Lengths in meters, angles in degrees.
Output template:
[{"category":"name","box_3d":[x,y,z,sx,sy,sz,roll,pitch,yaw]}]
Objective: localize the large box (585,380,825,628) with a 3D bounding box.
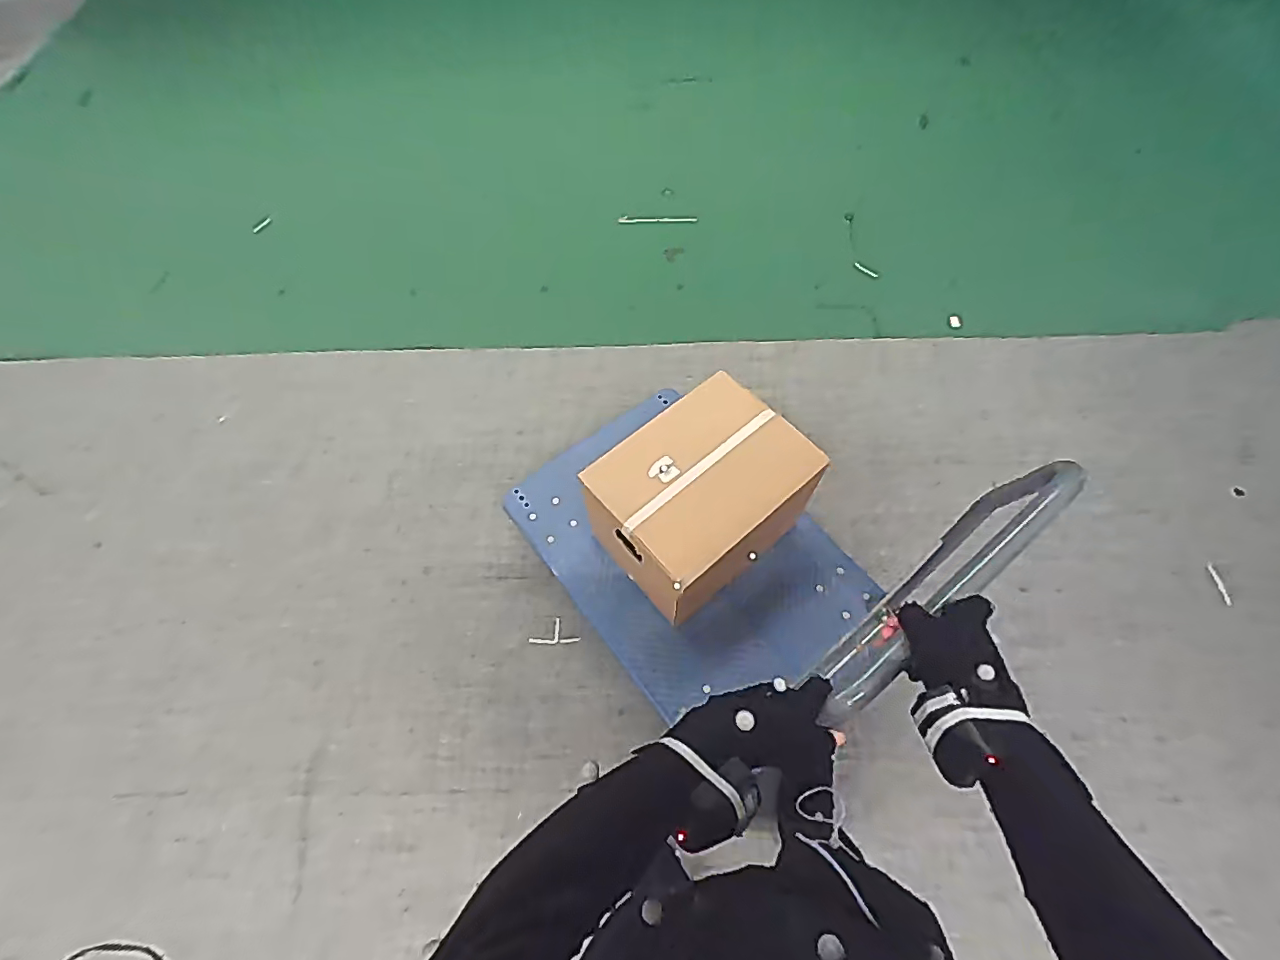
[{"category":"large box","box_3d":[0.138,0.061,1.223,0.408,0.320,0.320,-39,67,-16]}]
